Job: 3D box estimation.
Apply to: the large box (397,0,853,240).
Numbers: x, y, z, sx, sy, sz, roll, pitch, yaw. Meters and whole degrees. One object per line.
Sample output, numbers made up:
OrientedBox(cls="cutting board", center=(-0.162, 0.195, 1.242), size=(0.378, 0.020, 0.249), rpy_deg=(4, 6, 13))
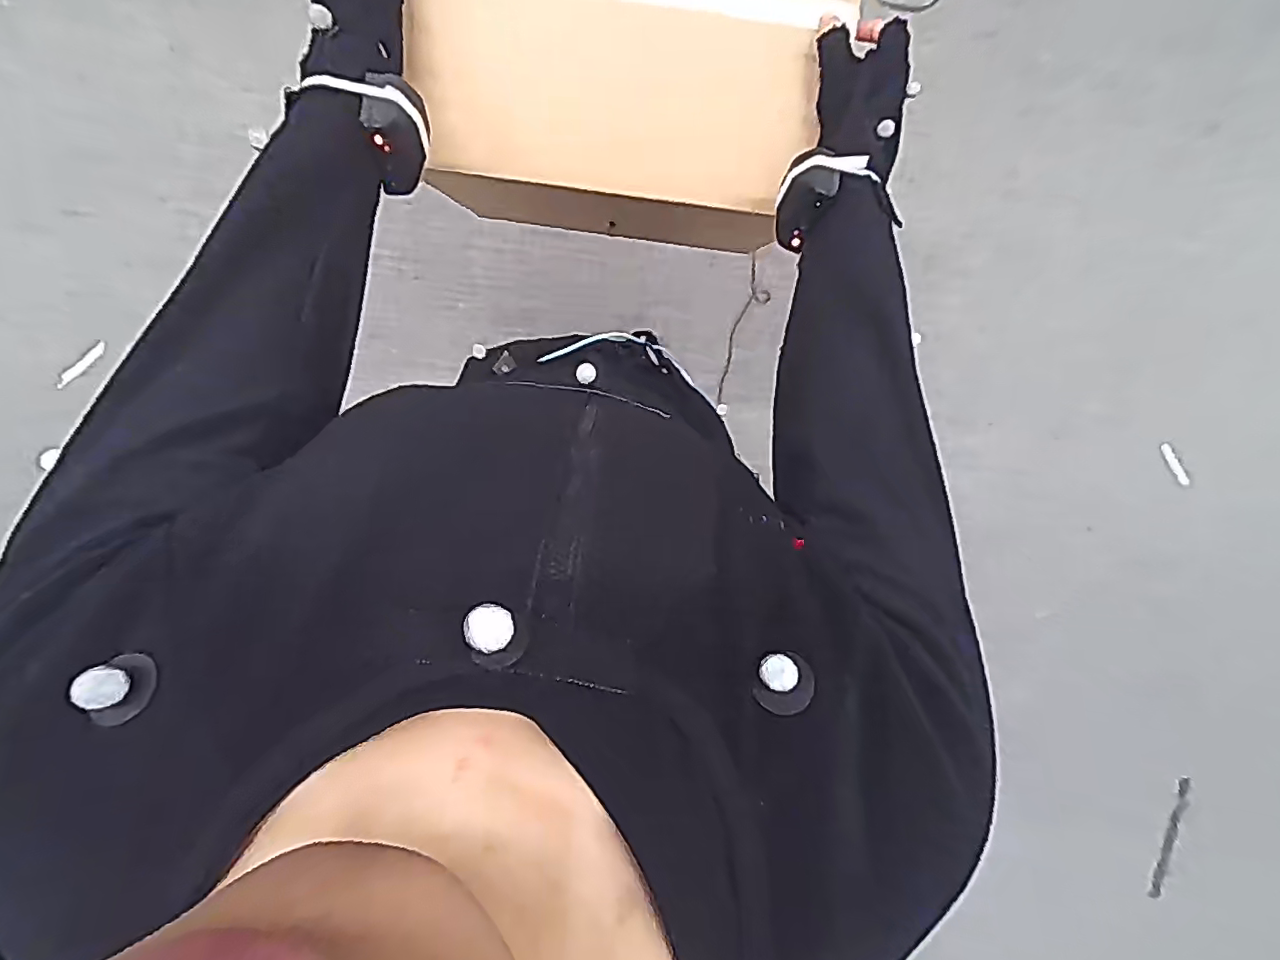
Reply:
OrientedBox(cls="large box", center=(-0.012, -0.470, 0.612), size=(0.408, 0.320, 0.320), rpy_deg=(6, 106, -3))
